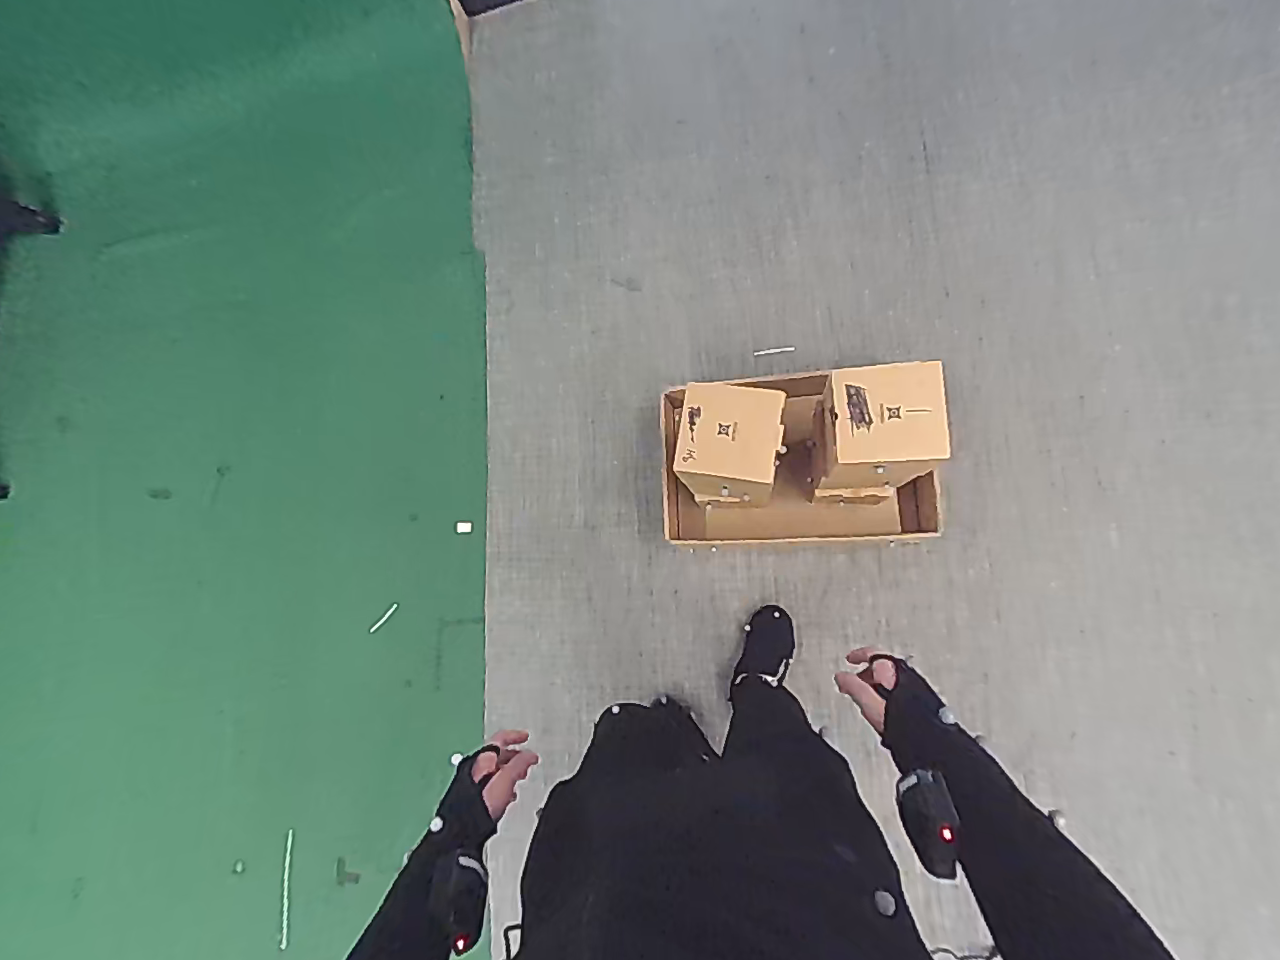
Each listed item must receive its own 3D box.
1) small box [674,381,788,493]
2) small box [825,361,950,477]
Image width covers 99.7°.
[{"bbox_3d":[0.173,-0.073,1.020,0.179,0.176,0.168,9,83,12],"label":"small box"},{"bbox_3d":[0.429,-0.100,0.967,0.179,0.176,0.168,-2,81,13],"label":"small box"}]
